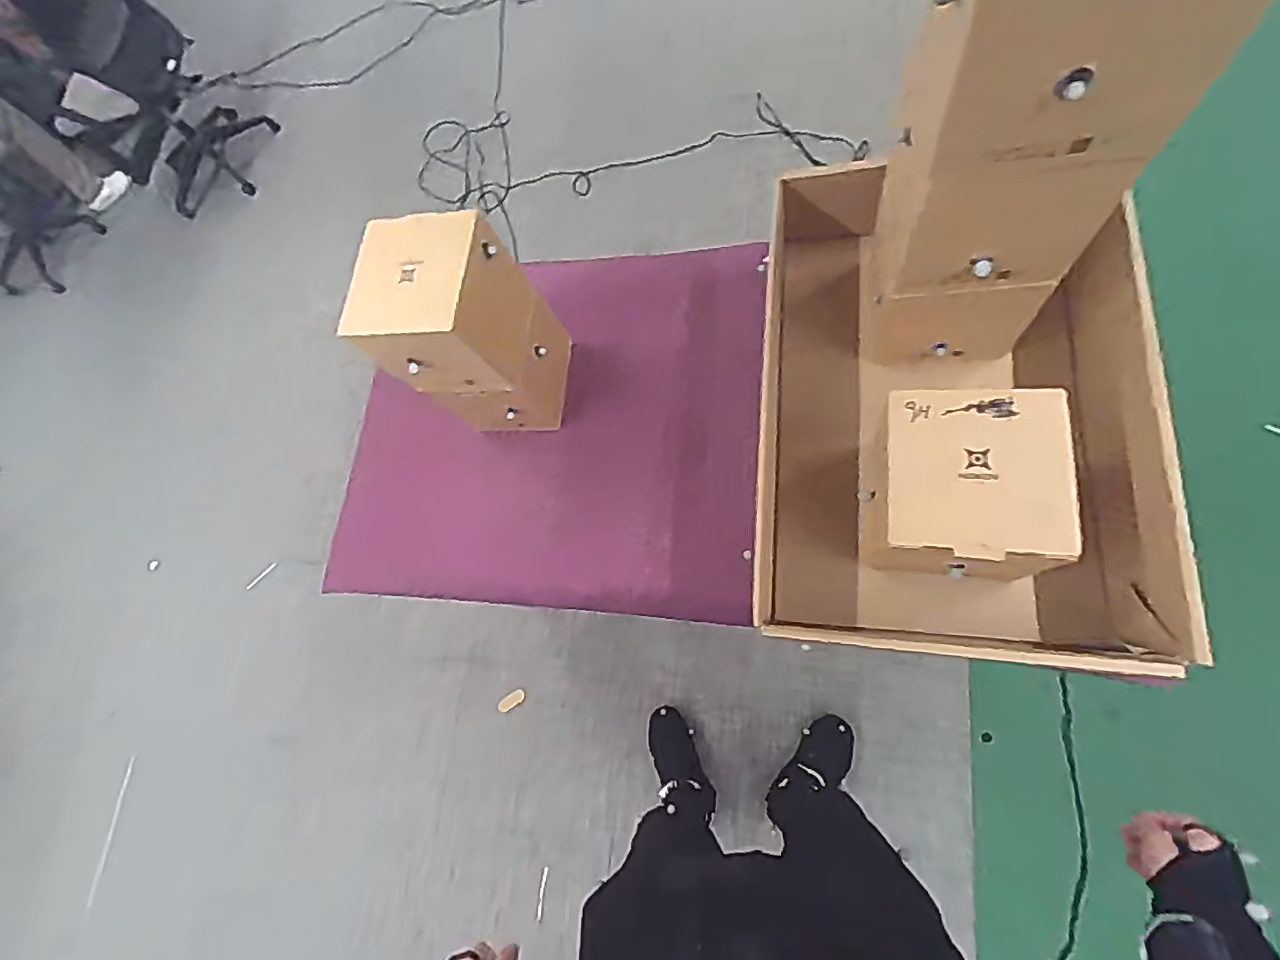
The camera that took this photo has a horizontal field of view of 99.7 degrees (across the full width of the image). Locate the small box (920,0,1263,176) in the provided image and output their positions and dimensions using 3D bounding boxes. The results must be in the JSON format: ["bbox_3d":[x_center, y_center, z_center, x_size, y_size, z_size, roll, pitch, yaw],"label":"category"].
[{"bbox_3d":[0.308,-0.348,0.387,0.168,0.176,0.179,1,75,16],"label":"small box"}]

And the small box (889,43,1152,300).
[{"bbox_3d":[0.352,-0.308,0.541,0.168,0.176,0.179,0,75,17],"label":"small box"}]

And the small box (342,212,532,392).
[{"bbox_3d":[-0.265,-0.232,0.748,0.168,0.176,0.179,2,73,15],"label":"small box"}]

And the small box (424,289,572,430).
[{"bbox_3d":[-0.224,-0.190,0.898,0.168,0.176,0.179,2,74,15],"label":"small box"}]
